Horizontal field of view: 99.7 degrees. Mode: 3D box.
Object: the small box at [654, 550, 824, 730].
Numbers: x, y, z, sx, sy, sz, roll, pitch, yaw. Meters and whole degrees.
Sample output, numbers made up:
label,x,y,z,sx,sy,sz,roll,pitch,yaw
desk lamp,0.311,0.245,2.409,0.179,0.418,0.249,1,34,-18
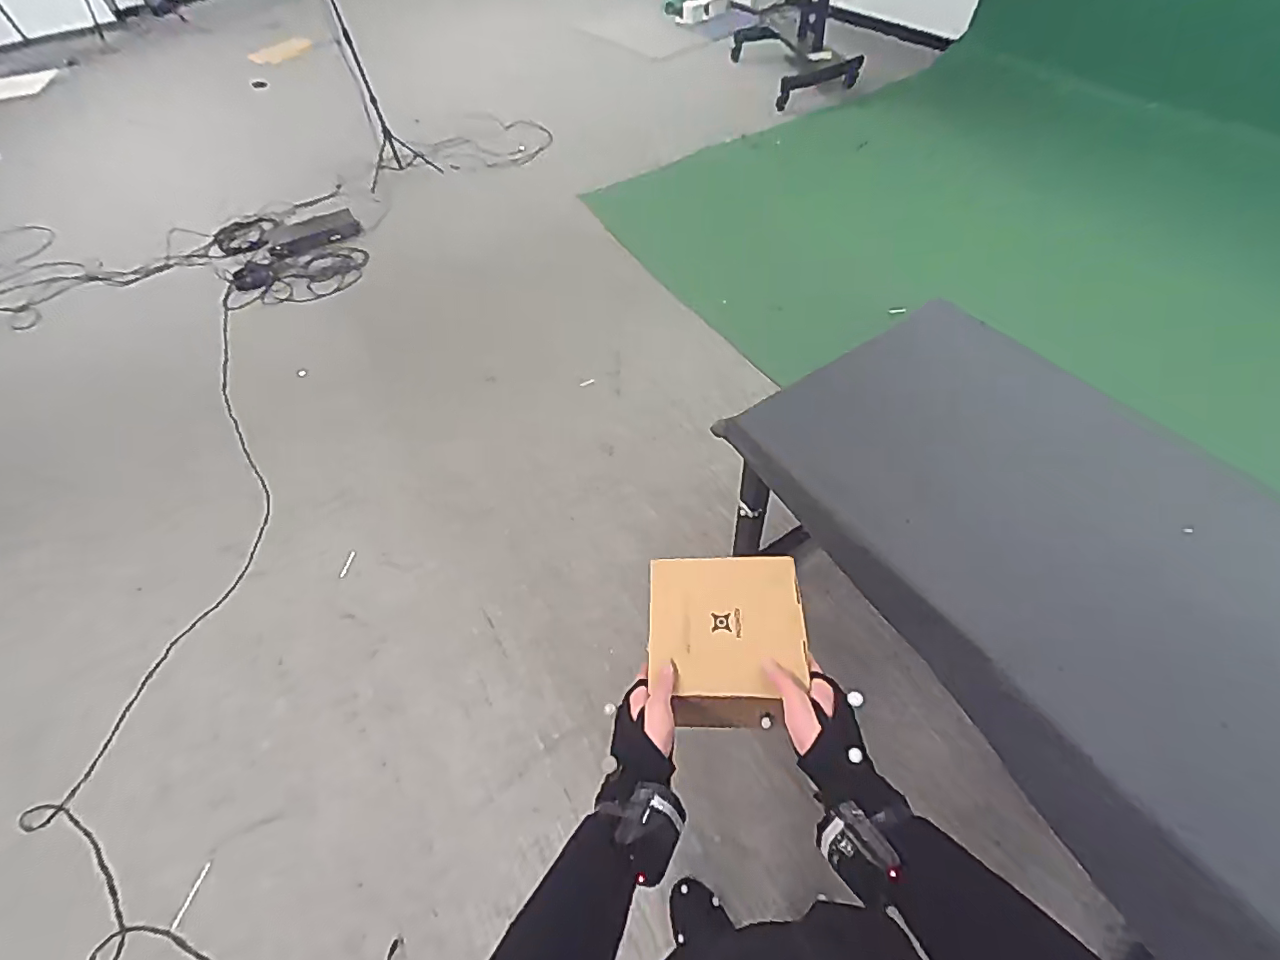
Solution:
label,x,y,z,sx,sy,sz,roll,pitch,yaw
small box,0.109,0.201,0.665,0.179,0.176,0.168,-4,53,5
